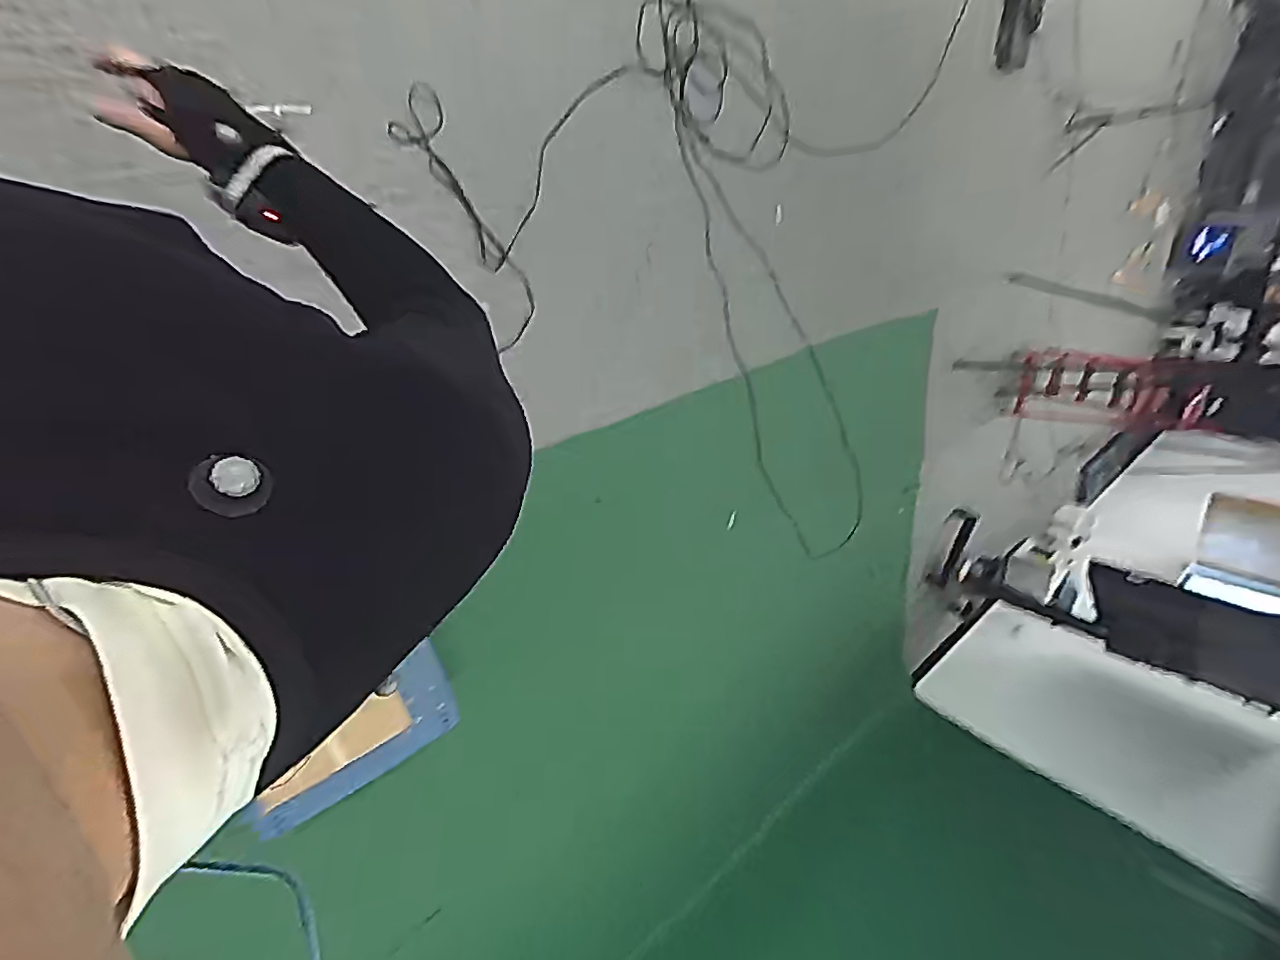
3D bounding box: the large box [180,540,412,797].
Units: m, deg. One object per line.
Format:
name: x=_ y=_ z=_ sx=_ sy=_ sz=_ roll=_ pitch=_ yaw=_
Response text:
large box: x=-0.797 y=0.417 z=1.269 sx=0.320 sy=0.320 sz=0.408 roll=-25 pitch=120 yaw=-30
